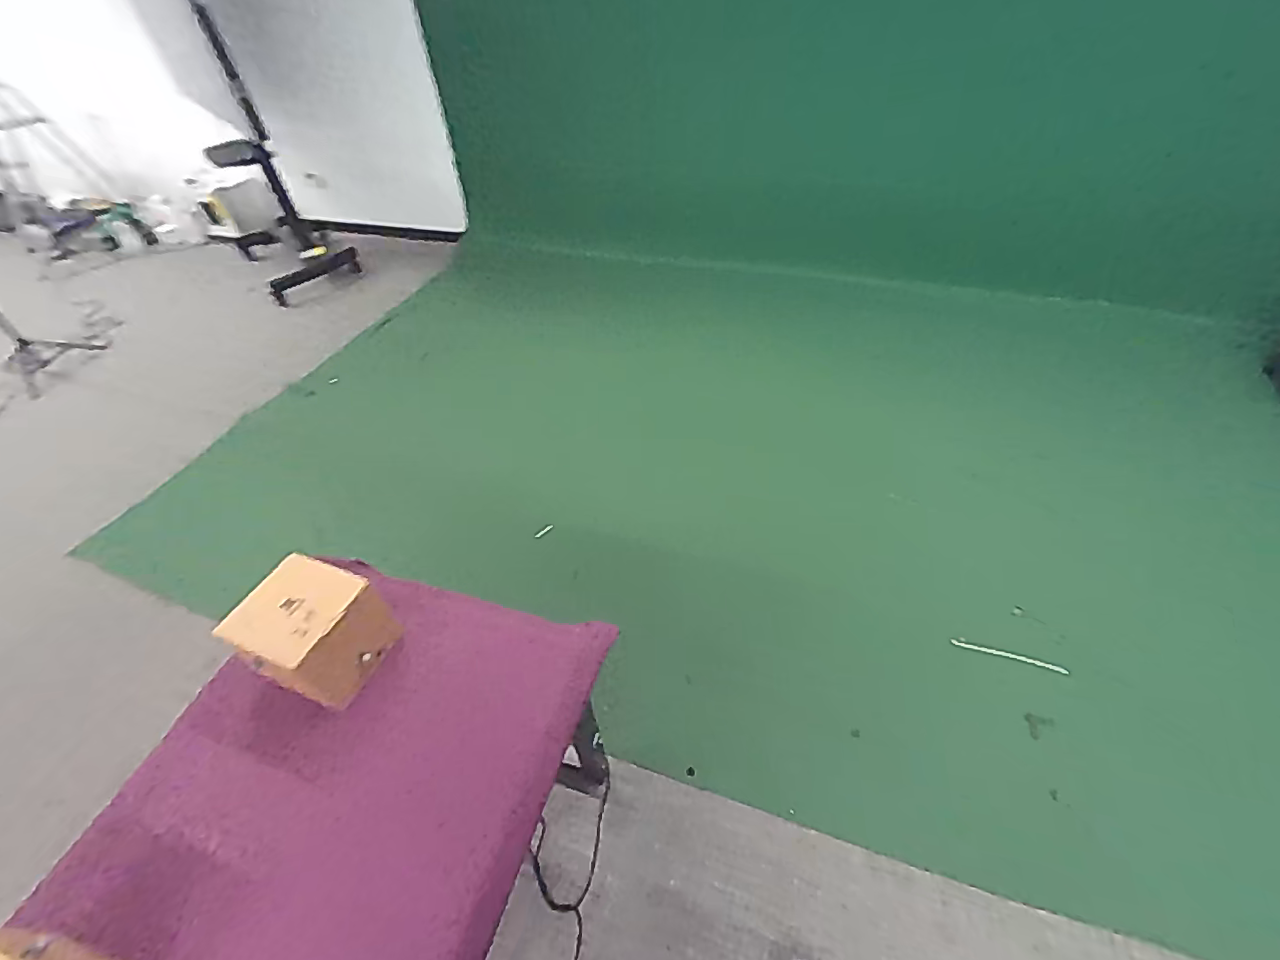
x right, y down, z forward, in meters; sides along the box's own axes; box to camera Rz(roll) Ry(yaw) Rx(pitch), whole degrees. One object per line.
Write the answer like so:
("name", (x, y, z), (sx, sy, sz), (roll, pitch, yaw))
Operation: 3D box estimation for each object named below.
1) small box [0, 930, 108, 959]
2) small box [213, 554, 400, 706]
("small box", (-0.714, 0.624, 0.589), (0.179, 0.176, 0.168), (11, 48, 13))
("small box", (-0.555, 0.259, 0.924), (0.179, 0.176, 0.168), (15, 50, 17))
